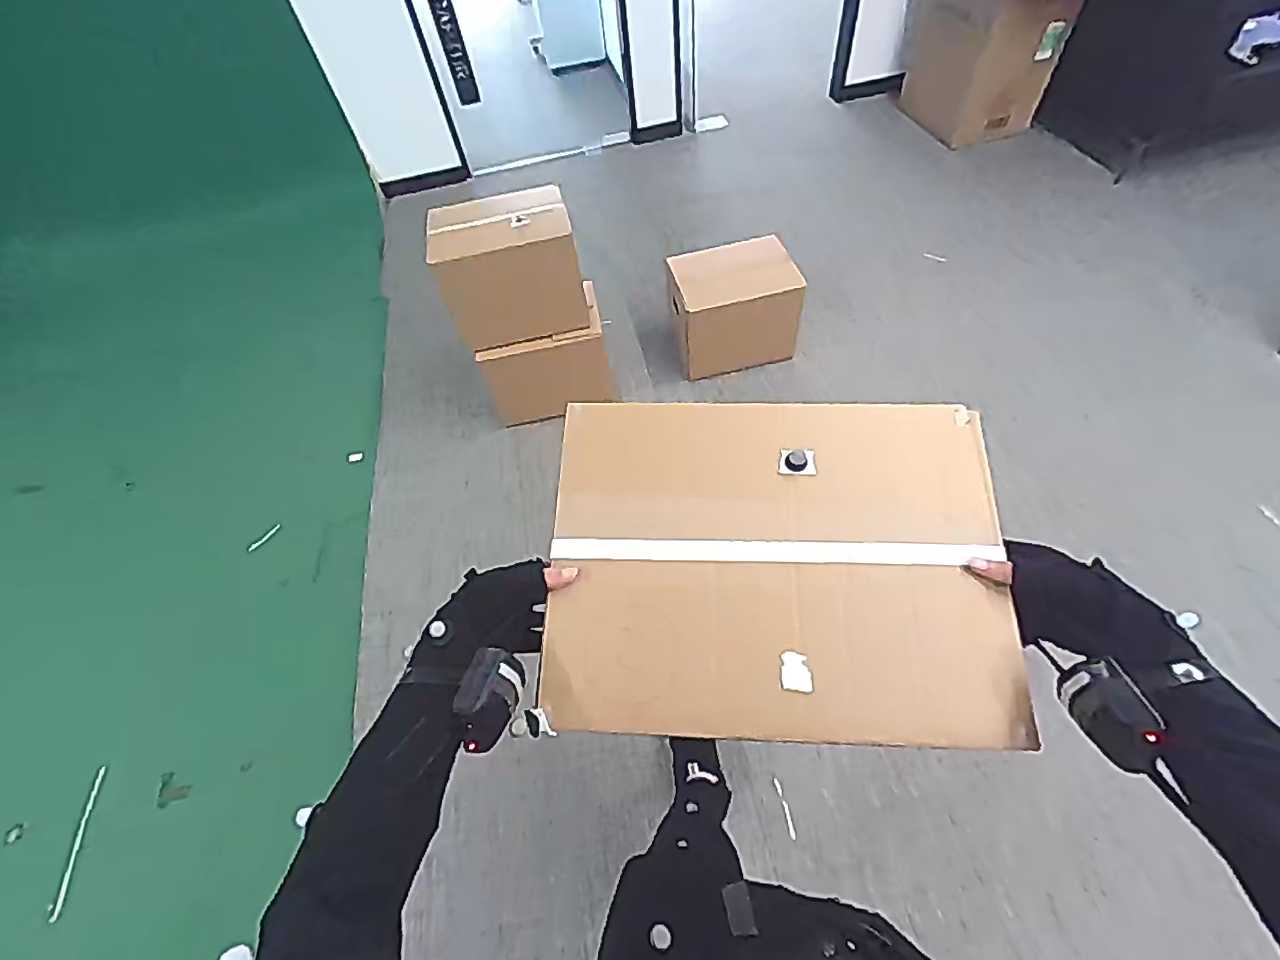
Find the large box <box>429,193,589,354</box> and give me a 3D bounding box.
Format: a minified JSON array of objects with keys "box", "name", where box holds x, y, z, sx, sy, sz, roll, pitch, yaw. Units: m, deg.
[{"box":[-0.396,-0.633,1.669,0.408,0.320,0.320,-12,52,-3],"name":"large box"}]
